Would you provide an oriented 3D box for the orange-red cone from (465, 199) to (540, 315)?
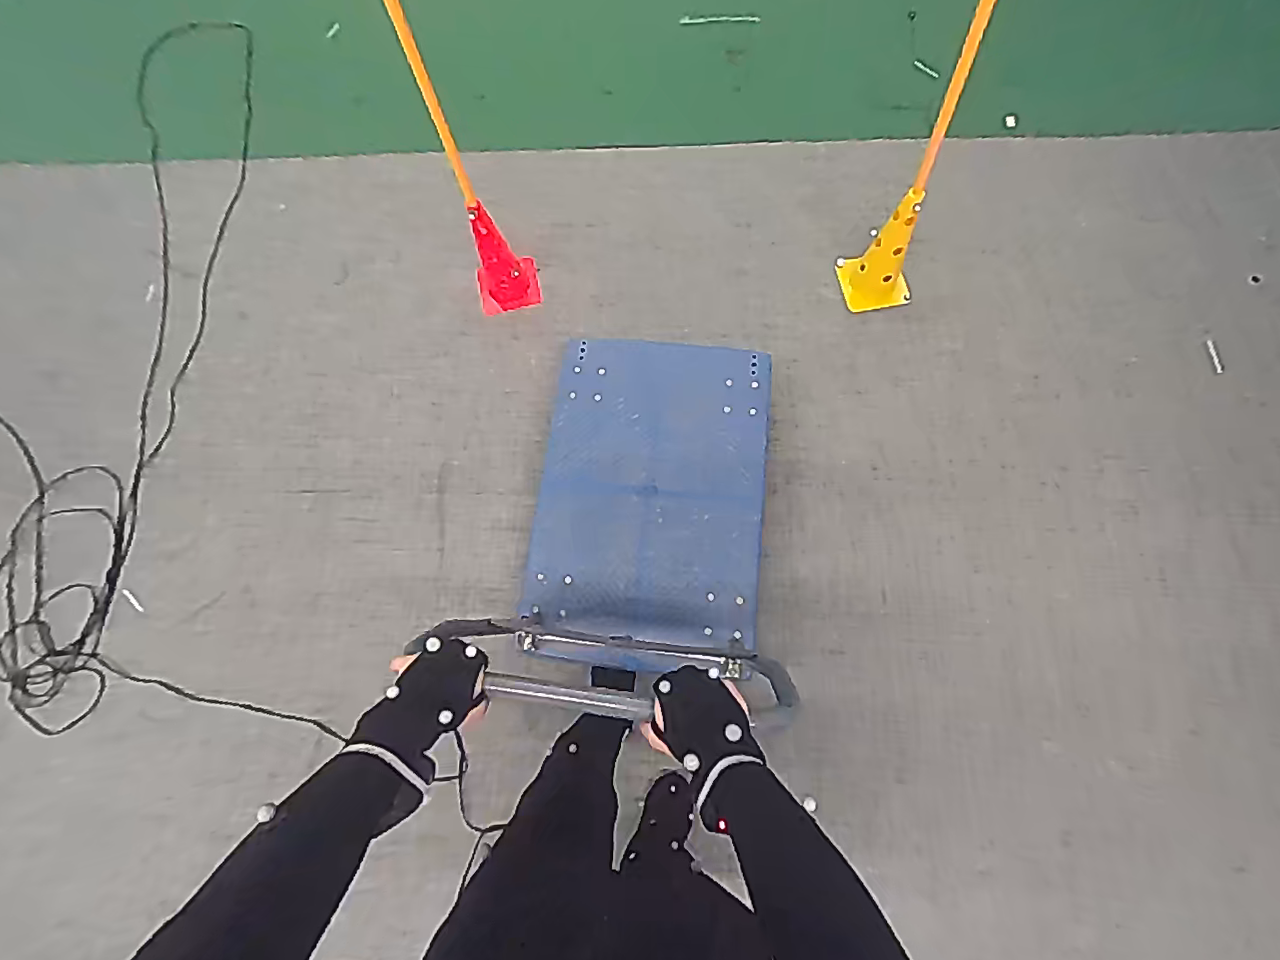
[{"bbox_3d":[-0.451,-0.701,1.649,0.199,0.360,0.198,-13,71,1],"label":"orange-red cone"}]
